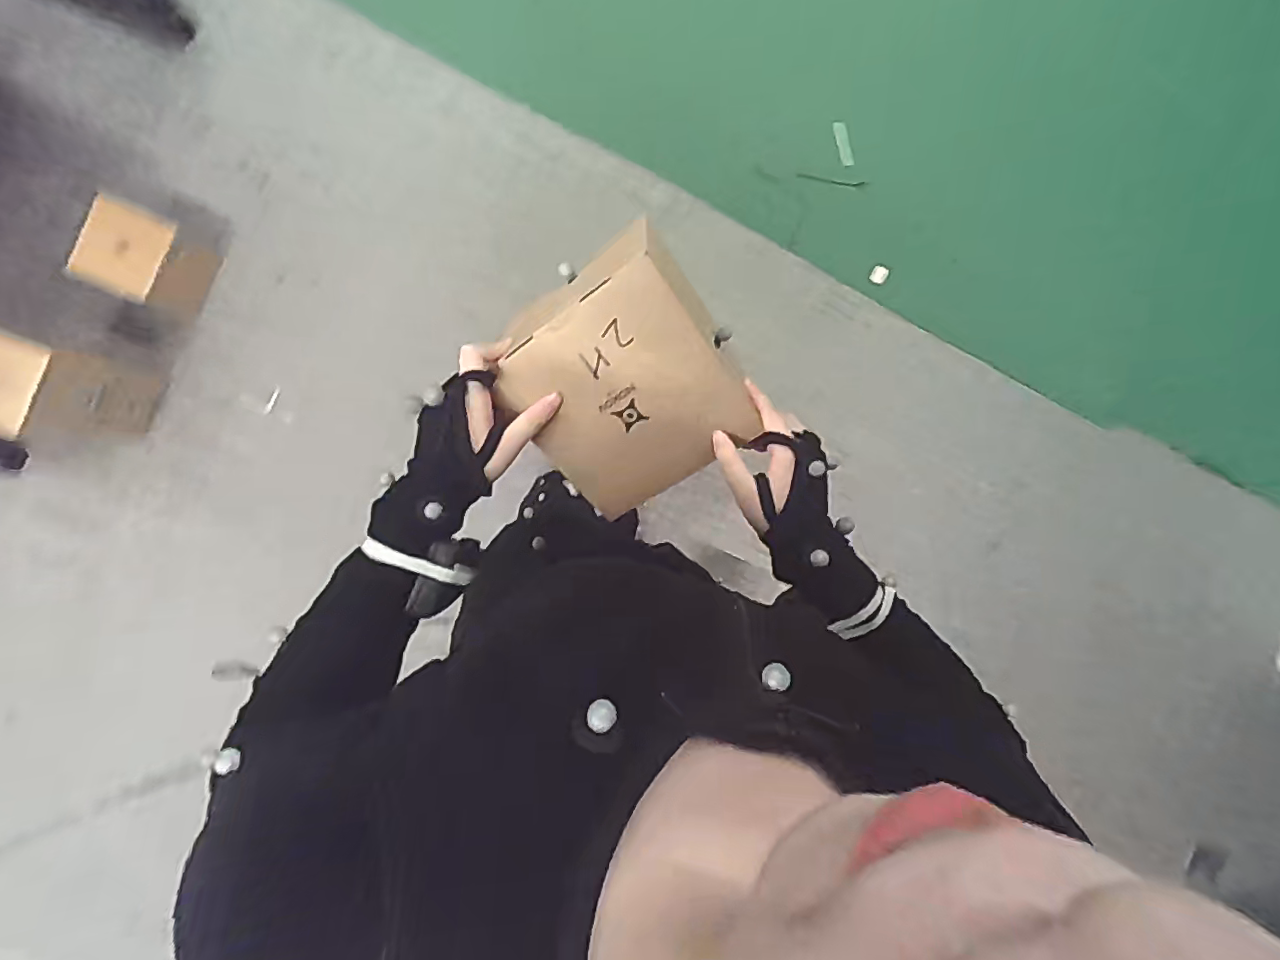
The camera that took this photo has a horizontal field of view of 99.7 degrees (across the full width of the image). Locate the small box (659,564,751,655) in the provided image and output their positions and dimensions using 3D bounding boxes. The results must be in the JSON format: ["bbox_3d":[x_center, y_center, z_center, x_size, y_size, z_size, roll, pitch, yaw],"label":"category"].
[{"bbox_3d":[0.166,0.340,1.460,0.179,0.176,0.168,25,90,-8],"label":"small box"}]

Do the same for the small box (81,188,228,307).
[{"bbox_3d":[-1.119,-0.530,1.263,0.168,0.176,0.179,24,90,-8],"label":"small box"}]
